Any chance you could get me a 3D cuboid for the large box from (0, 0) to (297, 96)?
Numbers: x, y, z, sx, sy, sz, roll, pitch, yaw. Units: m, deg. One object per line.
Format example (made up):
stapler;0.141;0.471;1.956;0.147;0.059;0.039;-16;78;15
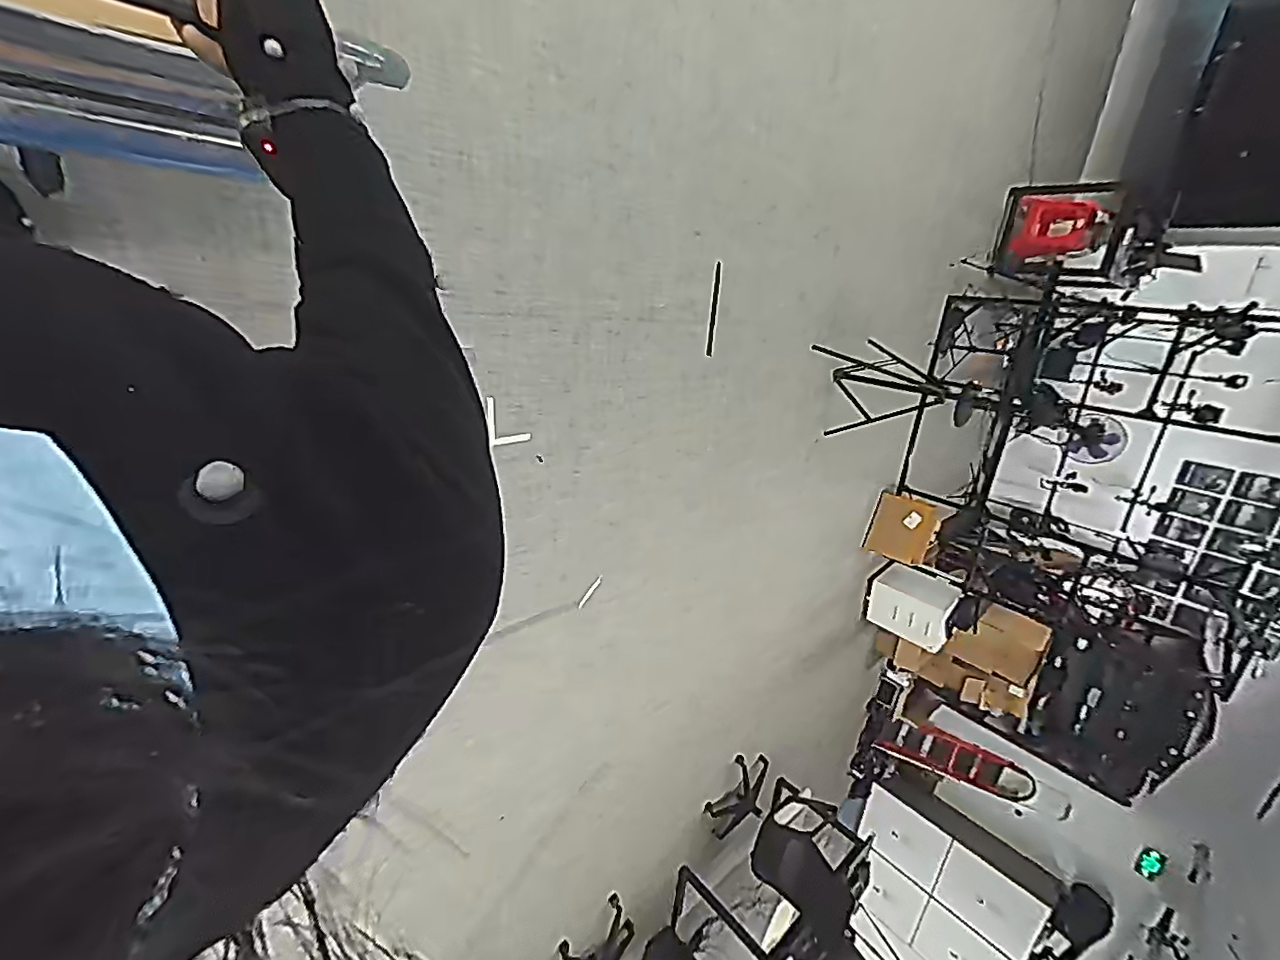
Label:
large box;-0.734;-0.736;0.690;0.408;0.320;0.320;-18;121;-41
